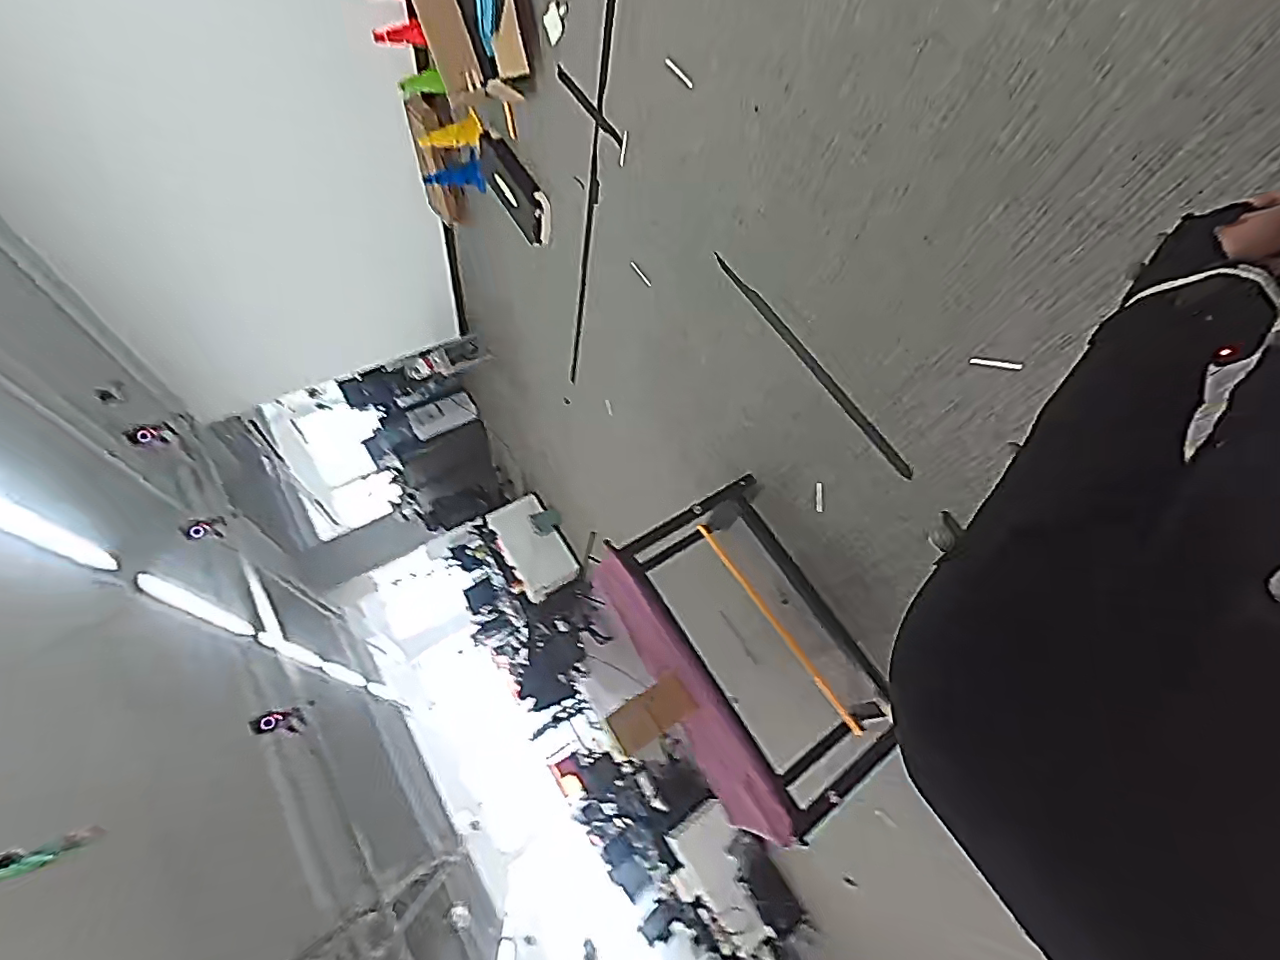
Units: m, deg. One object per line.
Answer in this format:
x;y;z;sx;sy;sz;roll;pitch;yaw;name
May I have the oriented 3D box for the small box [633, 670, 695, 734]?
0.099;0.897;2.185;0.179;0.176;0.168;56;157;17;small box
